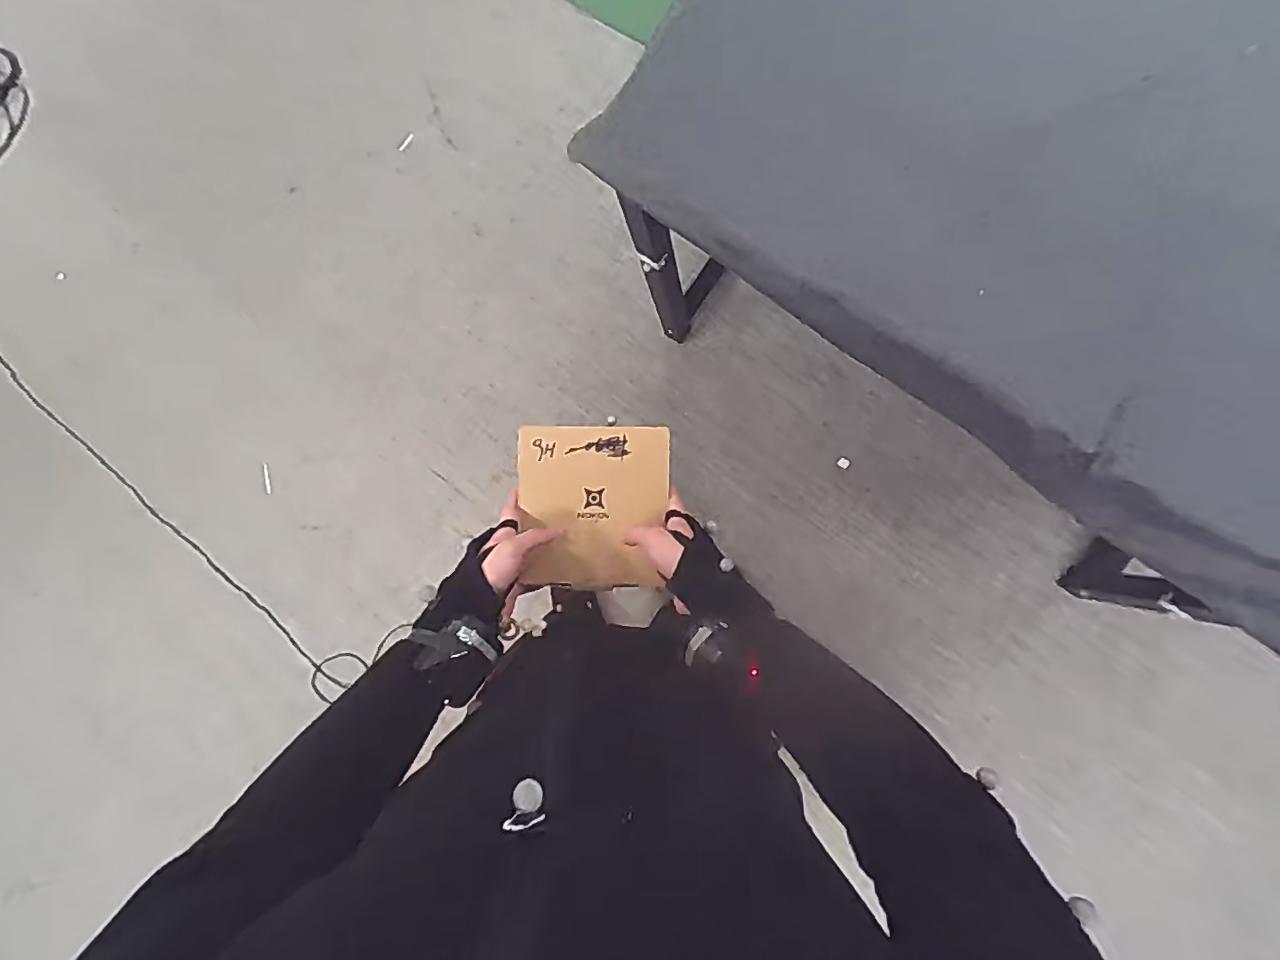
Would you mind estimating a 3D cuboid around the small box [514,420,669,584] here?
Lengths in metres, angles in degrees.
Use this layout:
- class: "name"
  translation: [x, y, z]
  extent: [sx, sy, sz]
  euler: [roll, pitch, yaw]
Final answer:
- class: "small box"
  translation: [-0.051, 0.020, 0.654]
  extent: [0.168, 0.176, 0.179]
  euler: [0, 92, 0]
